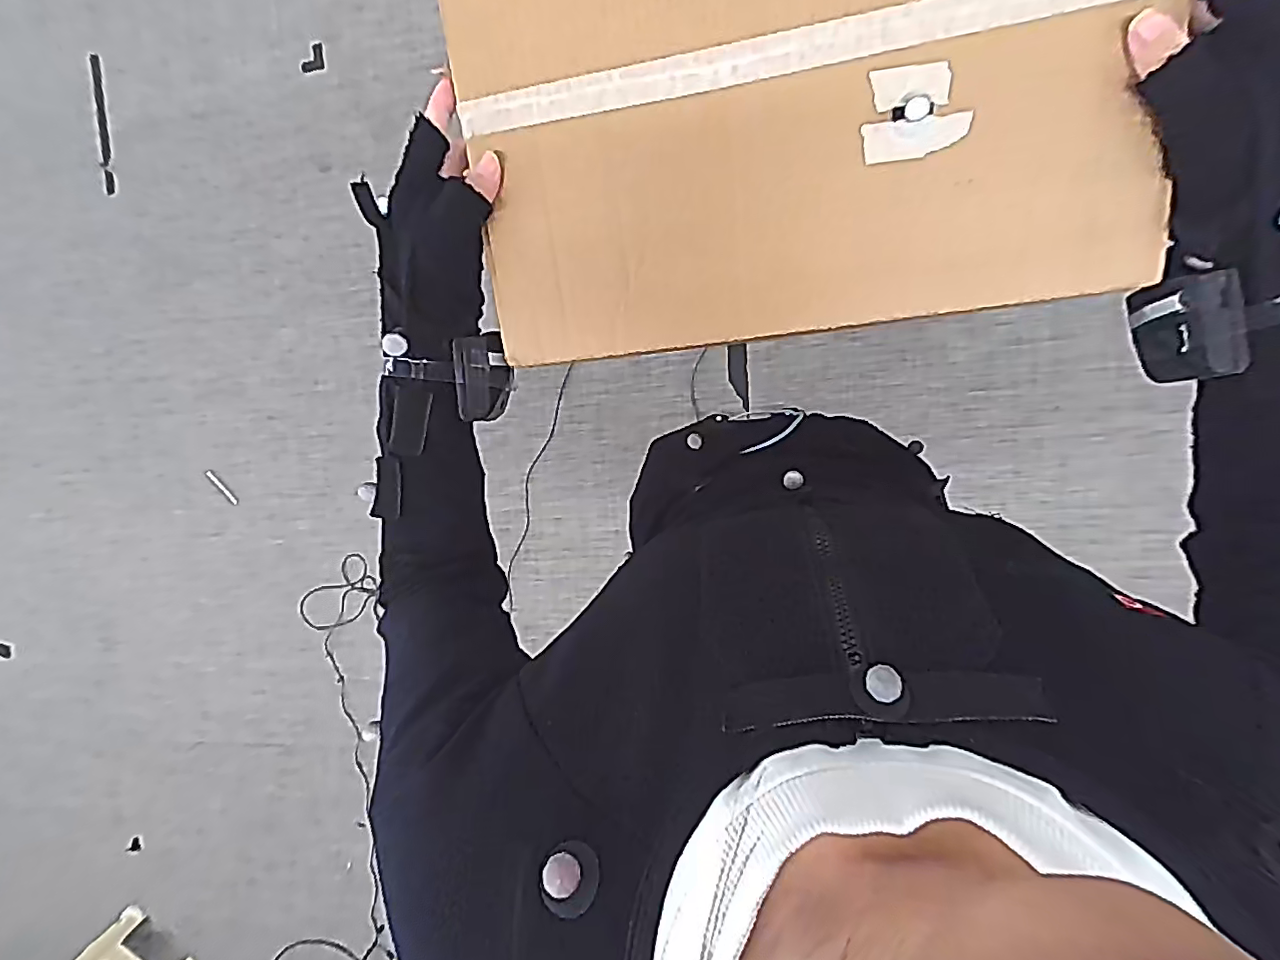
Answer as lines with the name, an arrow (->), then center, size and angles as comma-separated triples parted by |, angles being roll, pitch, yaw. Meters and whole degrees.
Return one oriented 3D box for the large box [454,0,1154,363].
large box -> 0.104, -0.288, 0.471 | 0.408, 0.320, 0.320 | -6, 103, 8
